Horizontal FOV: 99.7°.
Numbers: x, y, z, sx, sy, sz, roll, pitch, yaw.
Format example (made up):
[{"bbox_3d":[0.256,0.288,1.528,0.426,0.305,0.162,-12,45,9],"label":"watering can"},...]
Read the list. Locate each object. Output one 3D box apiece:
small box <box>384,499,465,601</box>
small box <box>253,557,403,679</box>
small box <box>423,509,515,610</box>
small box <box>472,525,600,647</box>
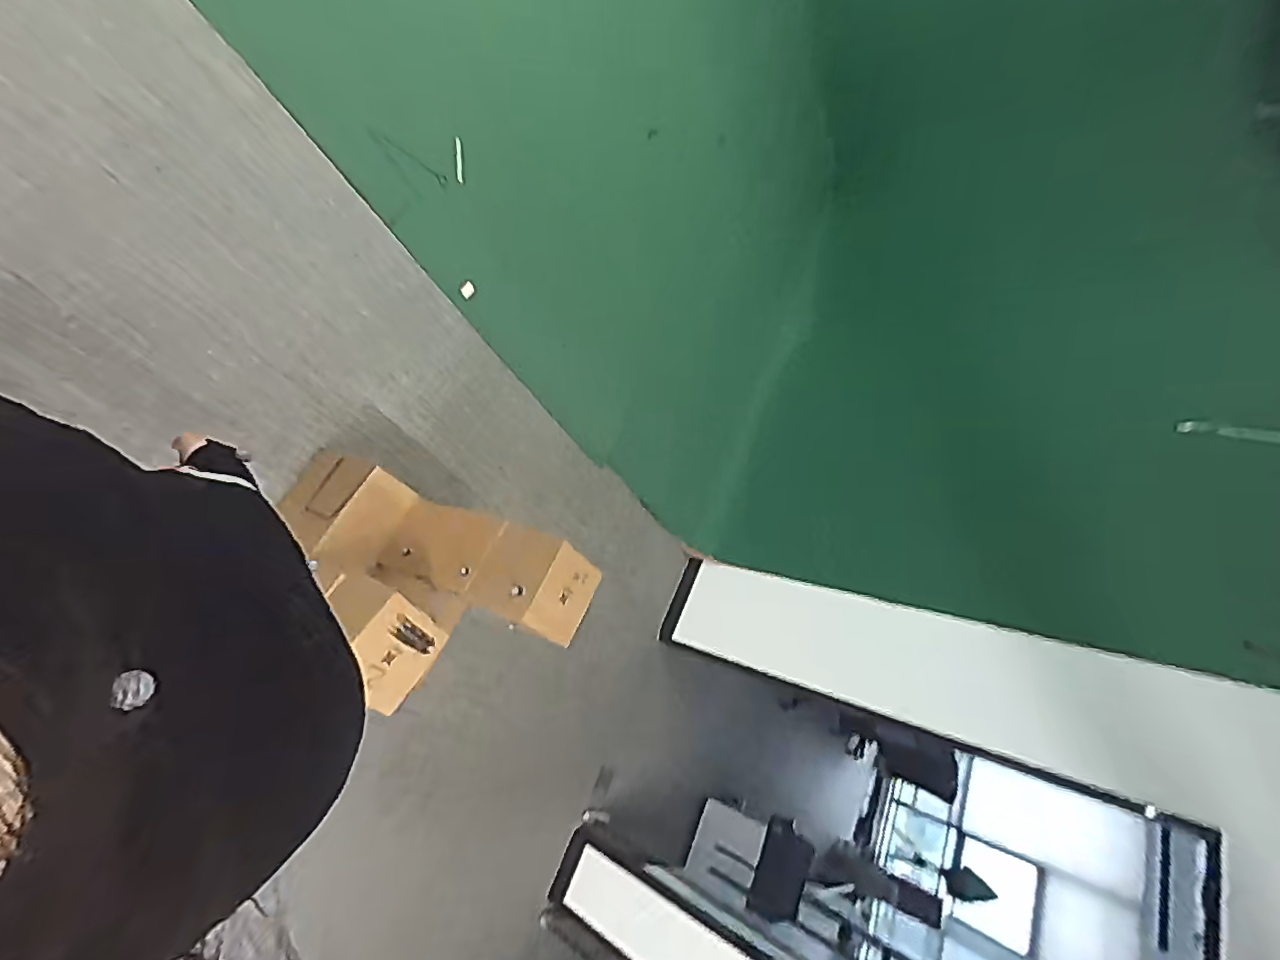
[{"bbox_3d":[-0.487,0.167,1.316,0.168,0.176,0.179,50,57,-48],"label":"small box"},{"bbox_3d":[-0.645,0.280,1.123,0.168,0.176,0.179,-60,140,-25],"label":"small box"},{"bbox_3d":[-0.353,0.185,1.227,0.179,0.176,0.168,-63,143,-21],"label":"small box"},{"bbox_3d":[-0.221,0.218,1.132,0.179,0.176,0.168,-63,143,-23],"label":"small box"}]
